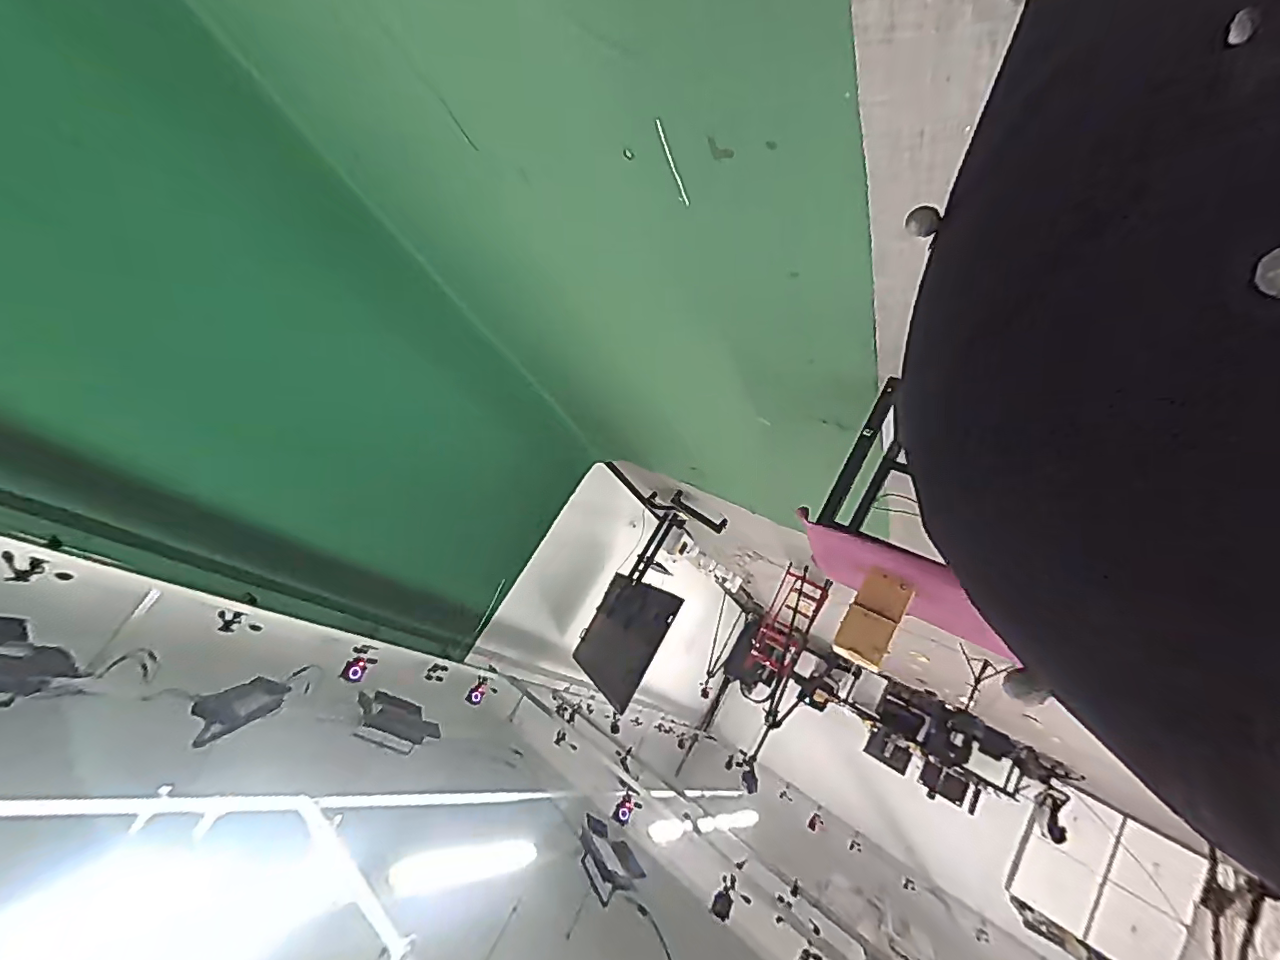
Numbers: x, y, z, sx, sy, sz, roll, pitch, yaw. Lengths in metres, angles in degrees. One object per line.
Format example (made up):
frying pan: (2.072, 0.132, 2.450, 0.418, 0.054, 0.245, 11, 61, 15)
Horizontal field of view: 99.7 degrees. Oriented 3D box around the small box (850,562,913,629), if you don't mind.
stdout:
small box: (0.902, 0.429, 2.023, 0.168, 0.176, 0.179, 27, 167, 29)
